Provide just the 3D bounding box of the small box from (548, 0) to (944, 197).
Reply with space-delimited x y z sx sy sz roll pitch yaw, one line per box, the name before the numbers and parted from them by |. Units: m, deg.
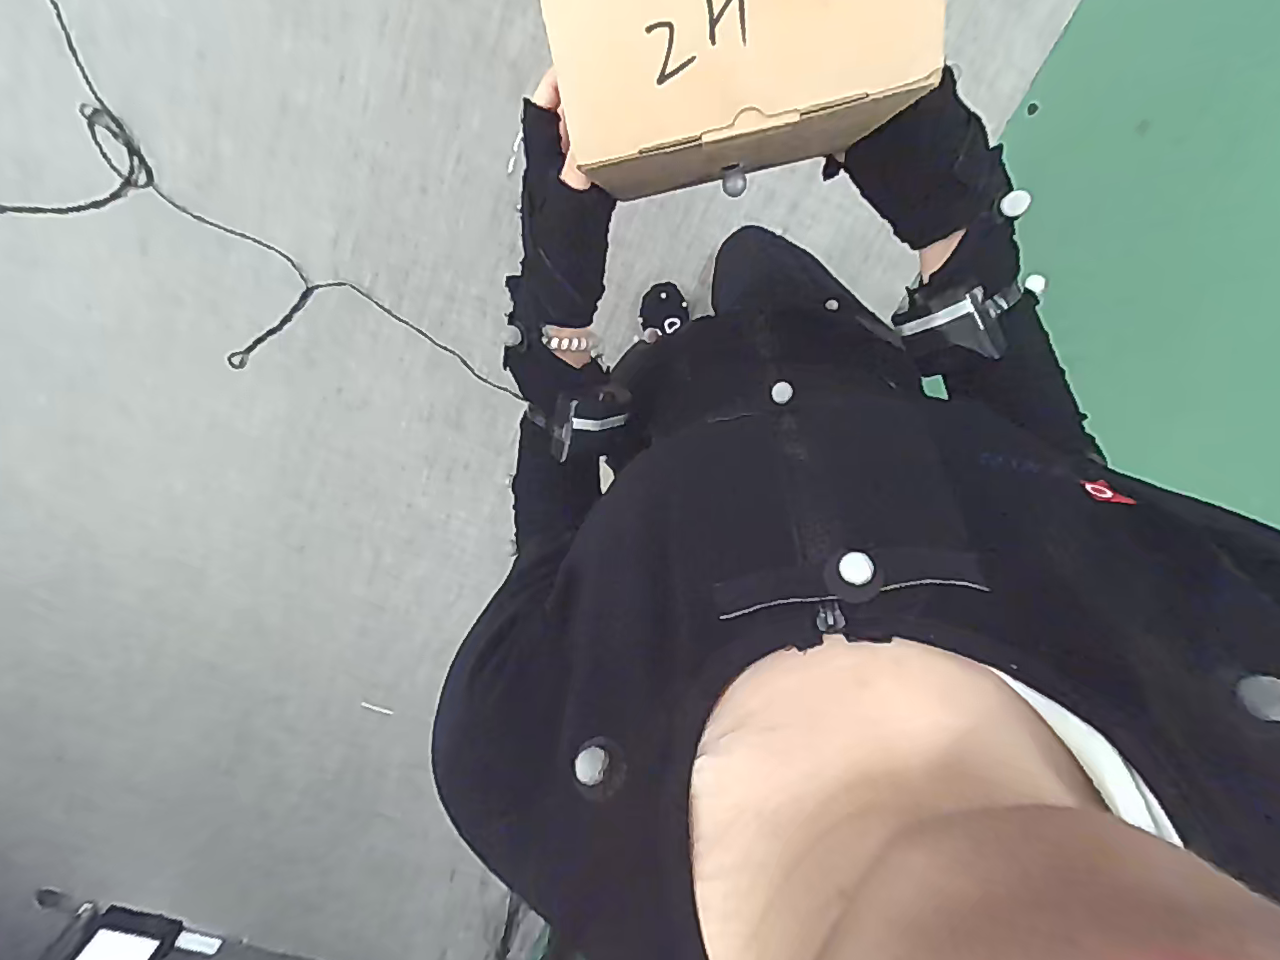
small box | 0.042 -0.270 0.289 0.168 0.176 0.179 -8 111 10
